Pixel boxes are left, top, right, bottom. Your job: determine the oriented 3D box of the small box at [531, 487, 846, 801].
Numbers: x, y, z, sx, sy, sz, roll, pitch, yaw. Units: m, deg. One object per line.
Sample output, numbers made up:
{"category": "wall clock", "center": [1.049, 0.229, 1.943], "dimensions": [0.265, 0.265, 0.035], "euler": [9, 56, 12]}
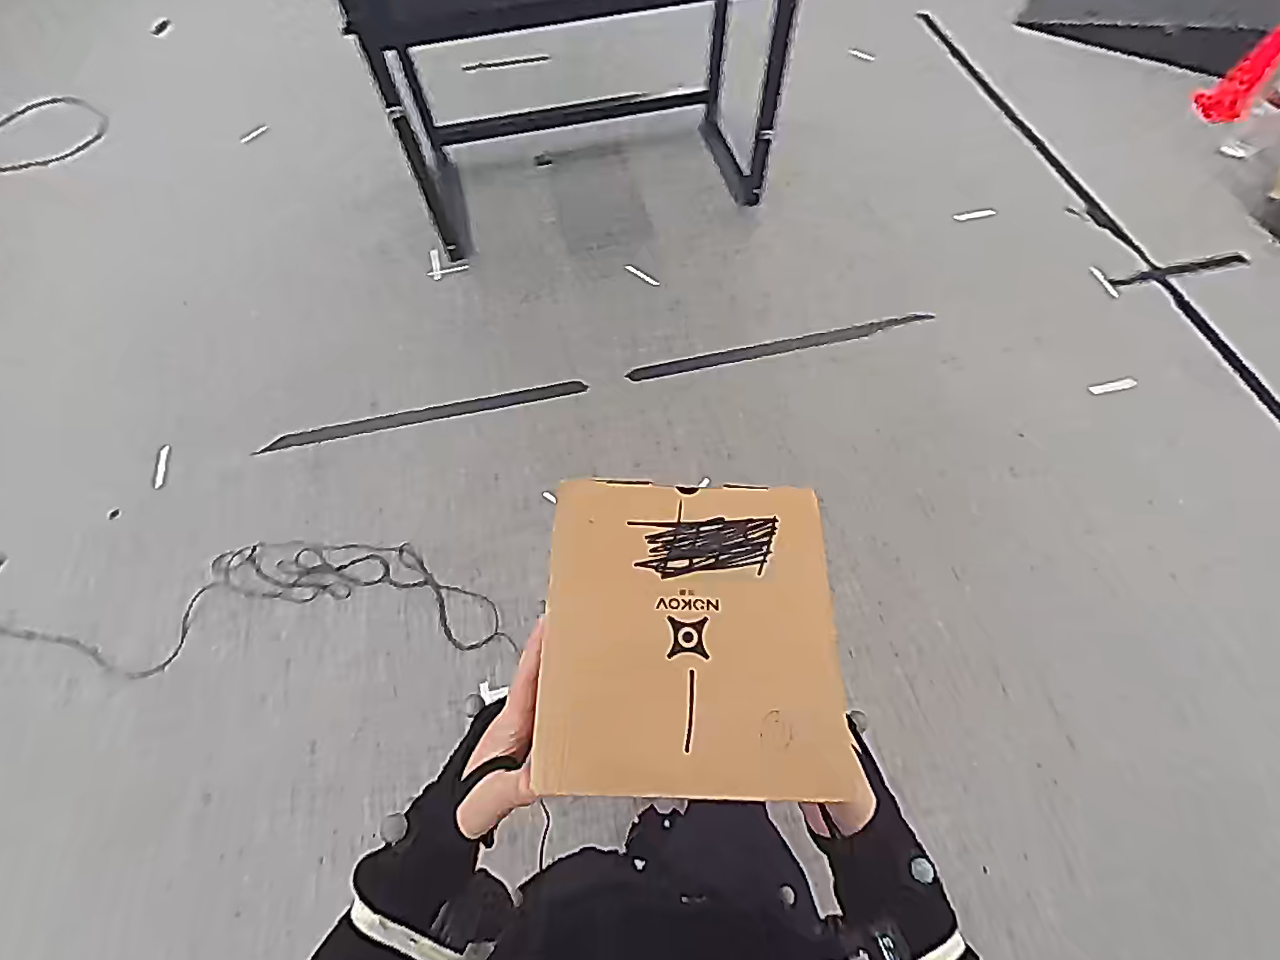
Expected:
{"category": "small box", "center": [0.023, 0.120, 0.384], "dimensions": [0.168, 0.176, 0.179], "euler": [1, 64, -1]}
